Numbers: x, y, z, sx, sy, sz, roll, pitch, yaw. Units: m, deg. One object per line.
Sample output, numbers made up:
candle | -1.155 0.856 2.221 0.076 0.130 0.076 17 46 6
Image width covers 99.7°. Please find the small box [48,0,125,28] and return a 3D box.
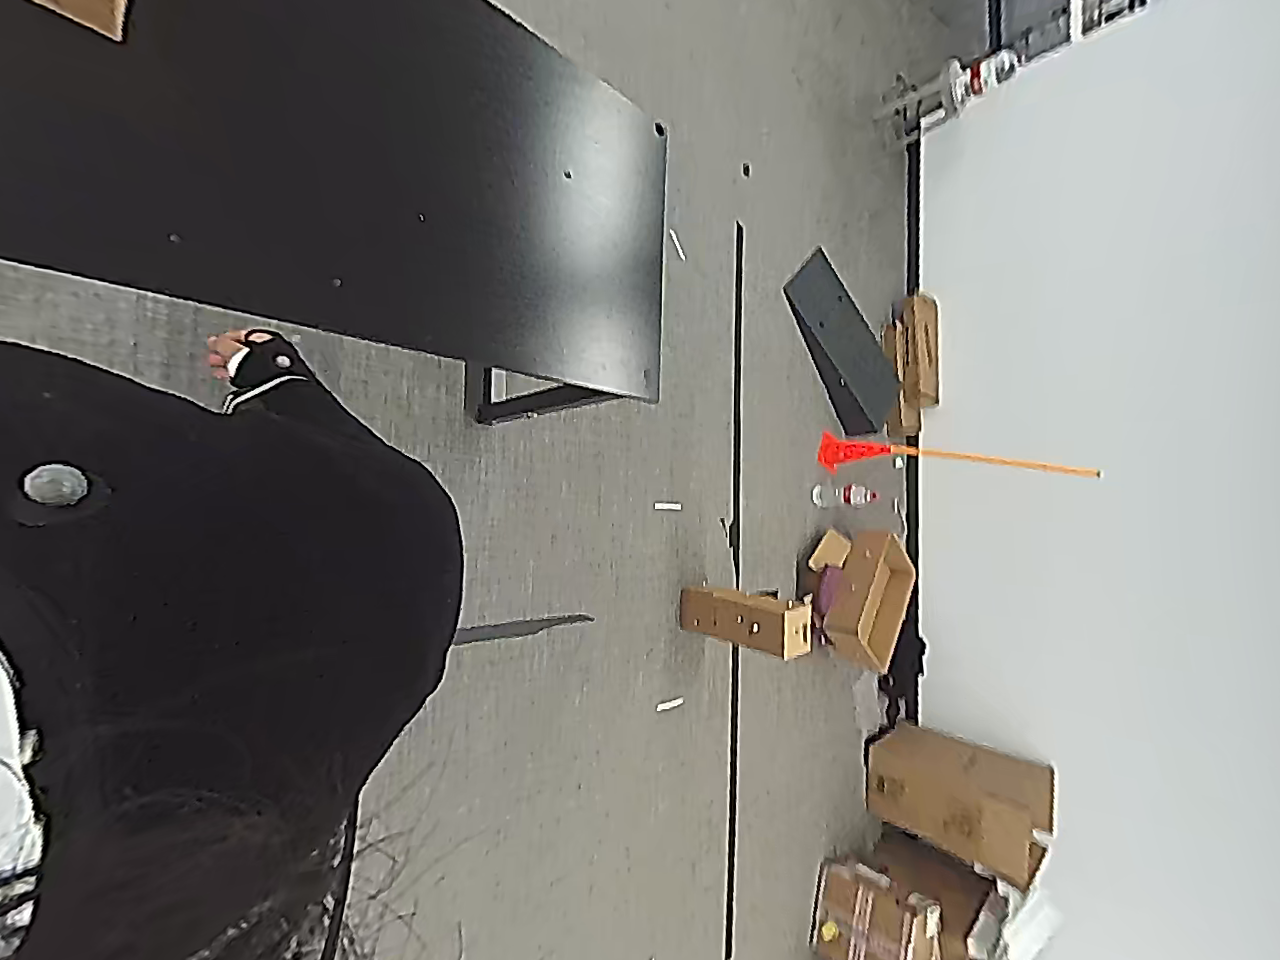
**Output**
small box | -0.567 -0.573 0.481 0.168 0.176 0.179 8 83 -42

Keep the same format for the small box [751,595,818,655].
small box | 0.526 0.519 1.963 0.179 0.176 0.168 1 89 -41

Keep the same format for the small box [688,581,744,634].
small box | 0.308 0.515 2.210 0.168 0.176 0.179 3 86 -42

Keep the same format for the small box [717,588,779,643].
small box | 0.416 0.515 2.087 0.179 0.176 0.168 1 89 -43
